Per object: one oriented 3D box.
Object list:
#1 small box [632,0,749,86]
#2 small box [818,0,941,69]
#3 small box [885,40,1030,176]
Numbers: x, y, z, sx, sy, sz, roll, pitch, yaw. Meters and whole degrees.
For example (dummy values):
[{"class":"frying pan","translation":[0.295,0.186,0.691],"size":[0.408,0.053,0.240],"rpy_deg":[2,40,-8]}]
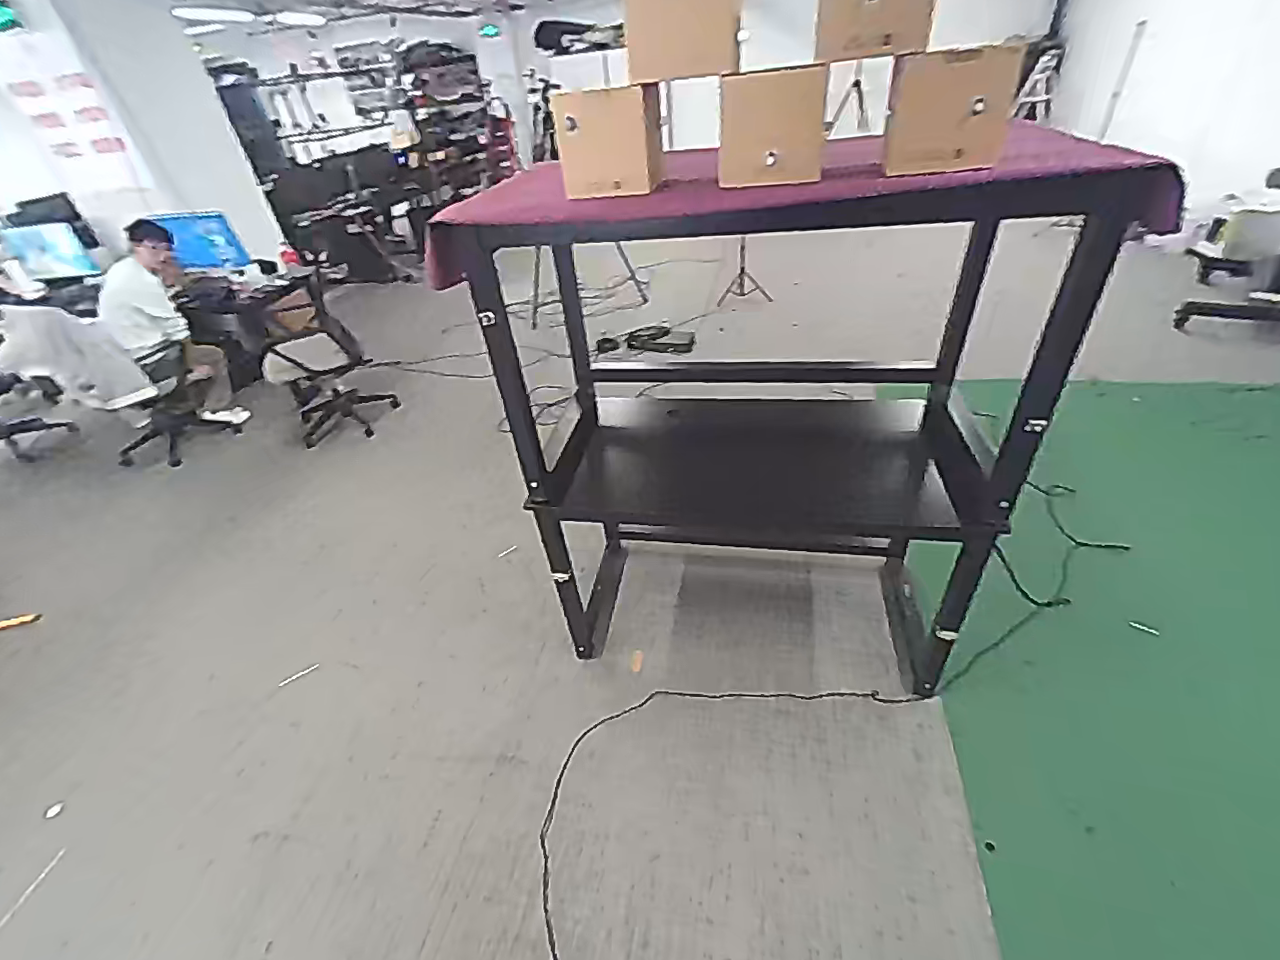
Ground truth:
[{"class":"small box","translation":[0.086,-0.768,0.902],"size":[0.179,0.176,0.168],"rpy_deg":[5,38,13]},{"class":"small box","translation":[0.373,-0.756,0.842],"size":[0.168,0.176,0.179],"rpy_deg":[5,38,16]},{"class":"small box","translation":[0.516,-0.616,0.907],"size":[0.168,0.176,0.179],"rpy_deg":[5,37,16]}]
